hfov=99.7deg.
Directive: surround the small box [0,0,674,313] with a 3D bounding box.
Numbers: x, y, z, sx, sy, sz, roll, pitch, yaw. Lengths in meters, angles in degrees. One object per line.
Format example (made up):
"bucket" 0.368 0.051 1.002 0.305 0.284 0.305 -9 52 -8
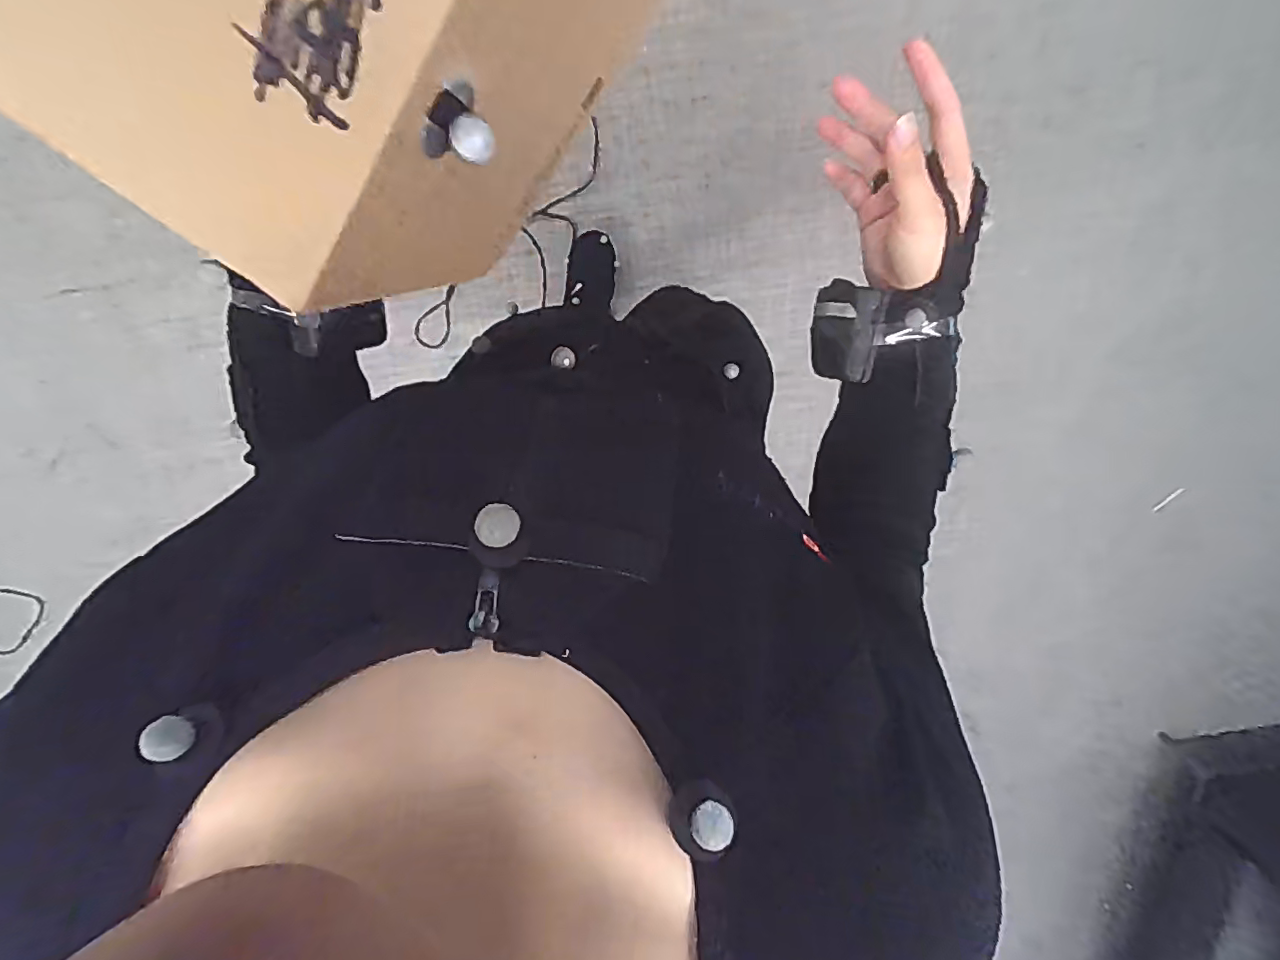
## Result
"small box" -0.101 -0.184 0.189 0.179 0.176 0.168 36 111 -12
